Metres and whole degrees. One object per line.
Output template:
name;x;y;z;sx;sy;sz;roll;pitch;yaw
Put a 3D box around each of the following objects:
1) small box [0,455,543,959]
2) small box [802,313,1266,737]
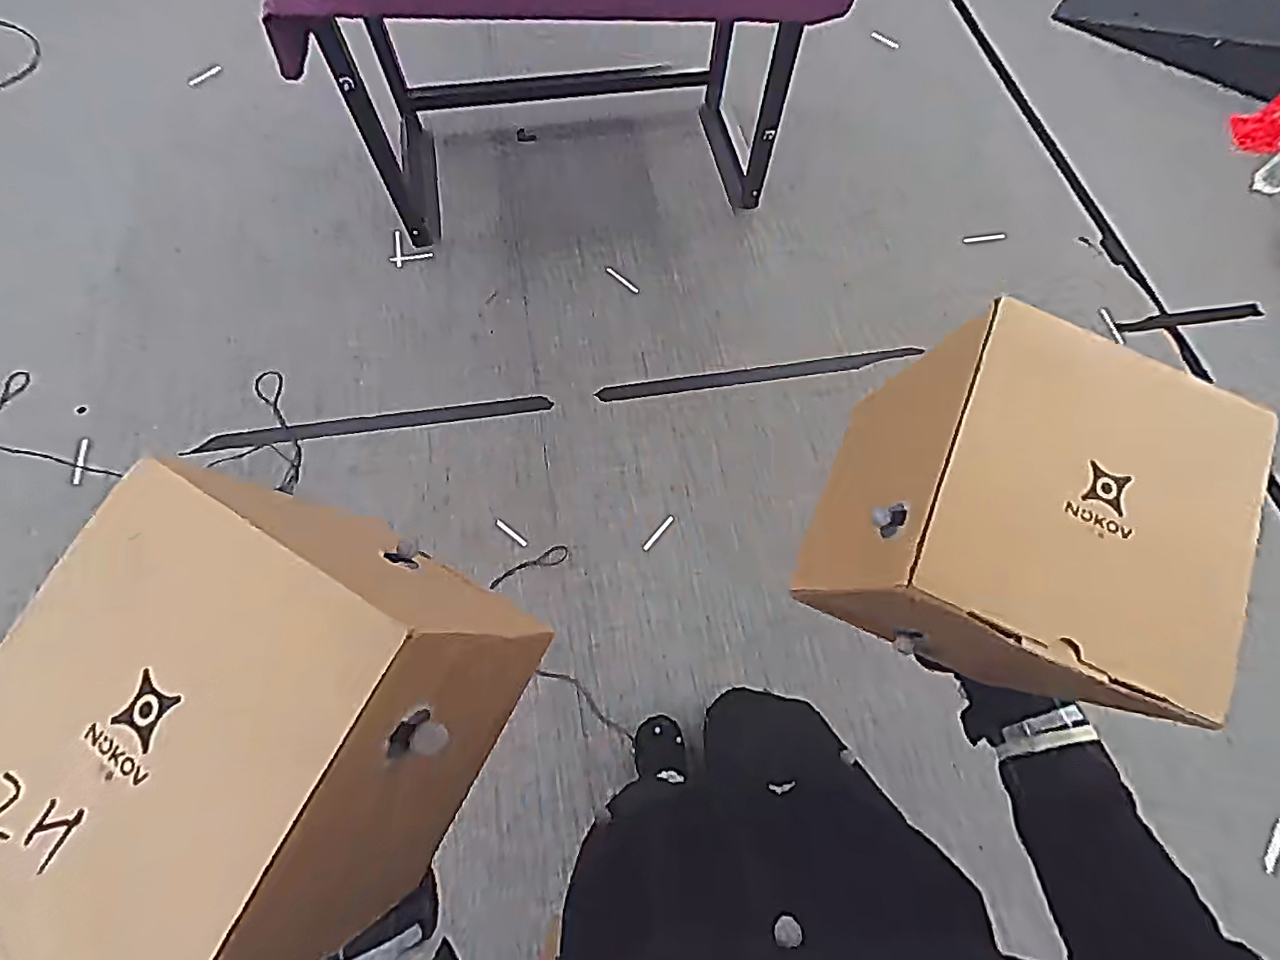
small box;-0.173;0.117;0.290;0.168;0.176;0.179;26;81;17
small box;0.231;0.032;0.358;0.168;0.176;0.179;25;77;1
